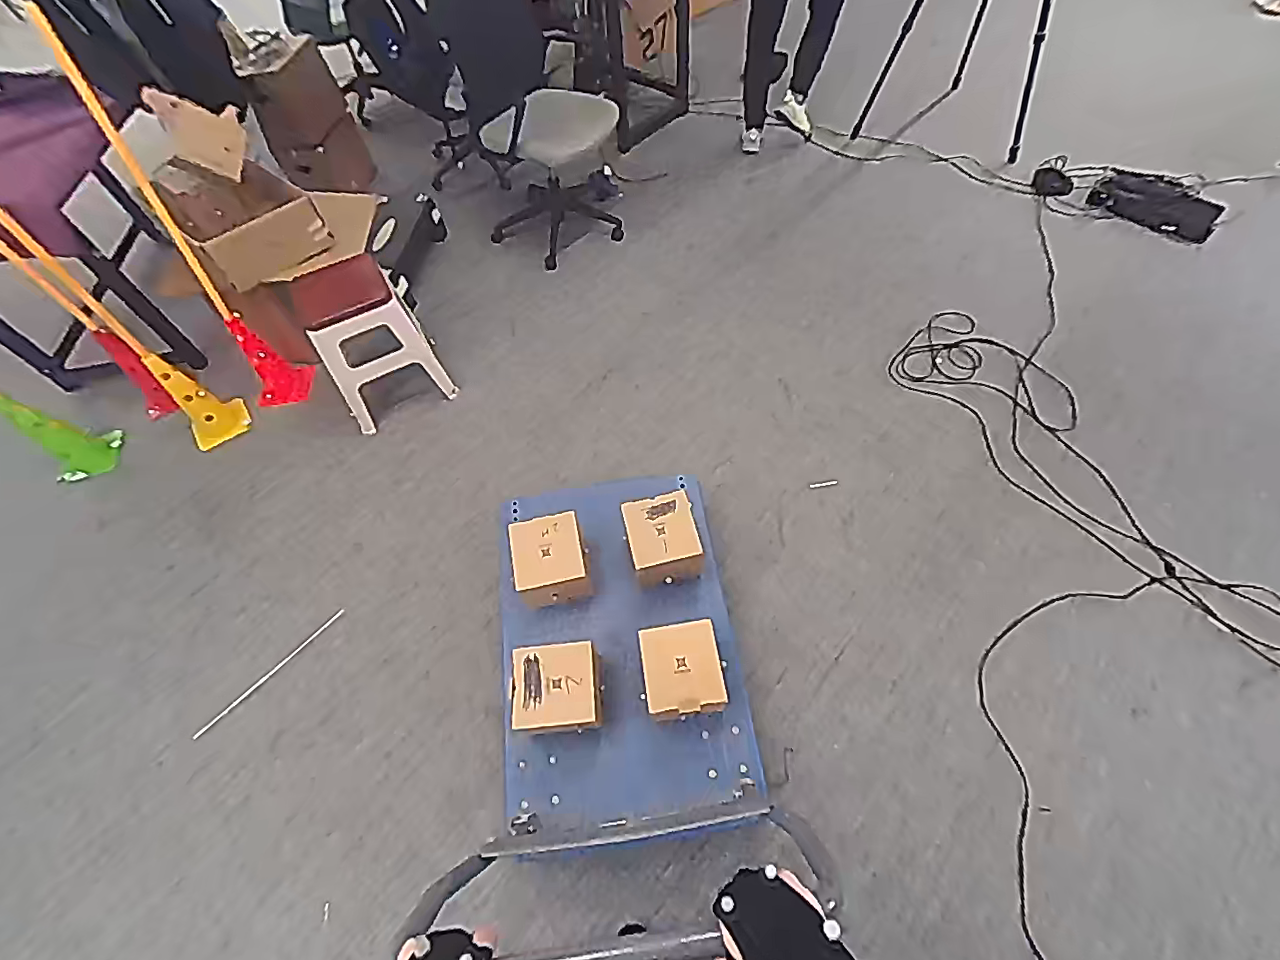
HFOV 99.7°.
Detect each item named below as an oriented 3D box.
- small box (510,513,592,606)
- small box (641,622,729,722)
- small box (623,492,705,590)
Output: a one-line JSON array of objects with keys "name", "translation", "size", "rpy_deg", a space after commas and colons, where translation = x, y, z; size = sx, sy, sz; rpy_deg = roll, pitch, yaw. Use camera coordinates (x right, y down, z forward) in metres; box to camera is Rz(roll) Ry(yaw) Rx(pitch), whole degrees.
[{"name": "small box", "translation": [-0.218, 0.206, 1.349], "size": [0.168, 0.176, 0.179], "rpy_deg": [-11, 63, -4]}, {"name": "small box", "translation": [0.094, 0.435, 1.217], "size": [0.168, 0.176, 0.179], "rpy_deg": [-9, 63, -2]}, {"name": "small box", "translation": [0.057, 0.157, 1.362], "size": [0.168, 0.176, 0.179], "rpy_deg": [-13, 63, -3]}]
